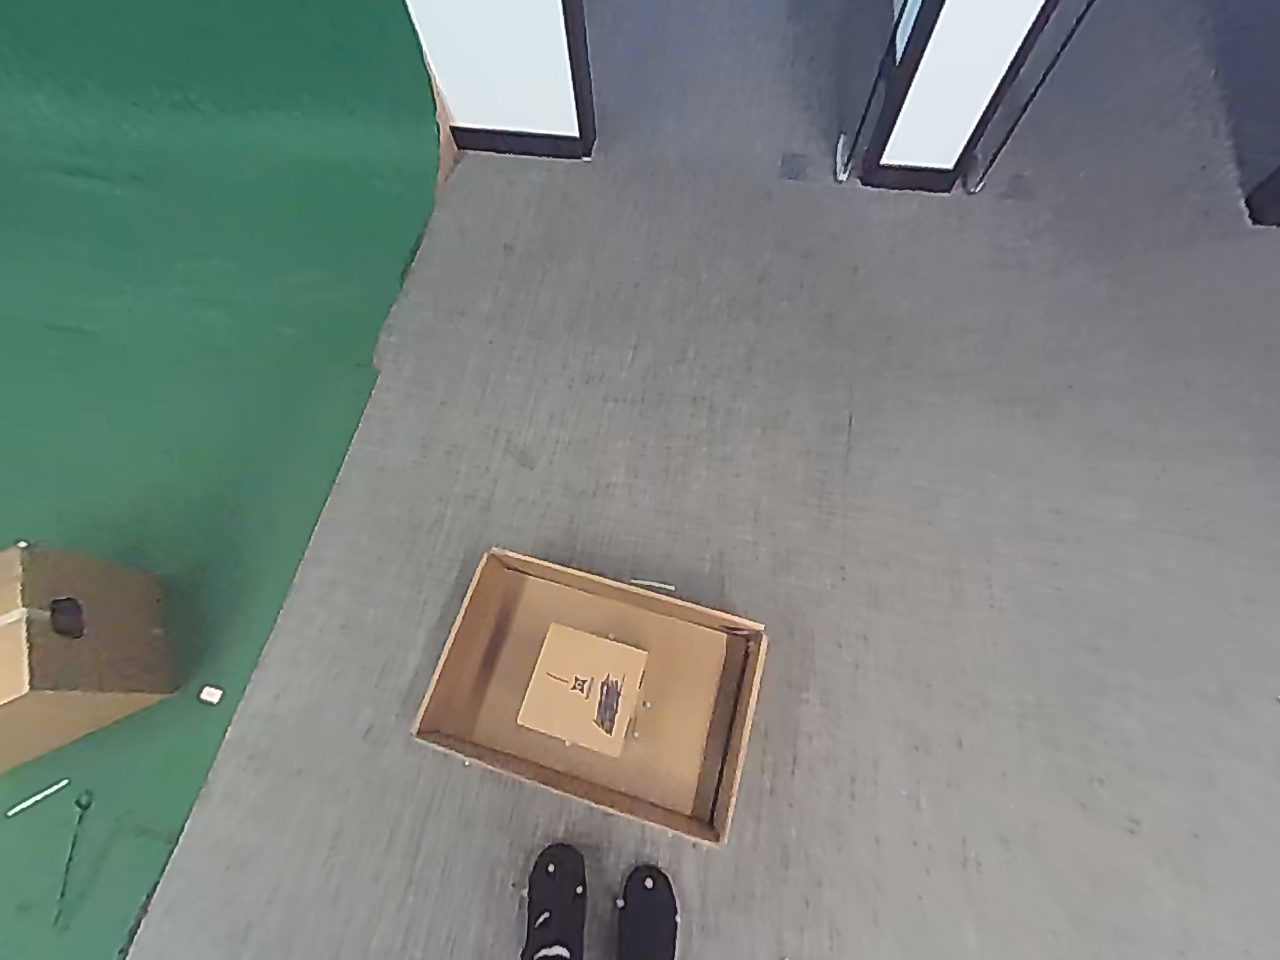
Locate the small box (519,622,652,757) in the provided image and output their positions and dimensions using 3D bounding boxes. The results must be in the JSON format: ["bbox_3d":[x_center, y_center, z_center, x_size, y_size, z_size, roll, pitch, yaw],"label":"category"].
[{"bbox_3d":[-0.082,0.360,0.942,0.179,0.176,0.168,15,69,10],"label":"small box"}]
